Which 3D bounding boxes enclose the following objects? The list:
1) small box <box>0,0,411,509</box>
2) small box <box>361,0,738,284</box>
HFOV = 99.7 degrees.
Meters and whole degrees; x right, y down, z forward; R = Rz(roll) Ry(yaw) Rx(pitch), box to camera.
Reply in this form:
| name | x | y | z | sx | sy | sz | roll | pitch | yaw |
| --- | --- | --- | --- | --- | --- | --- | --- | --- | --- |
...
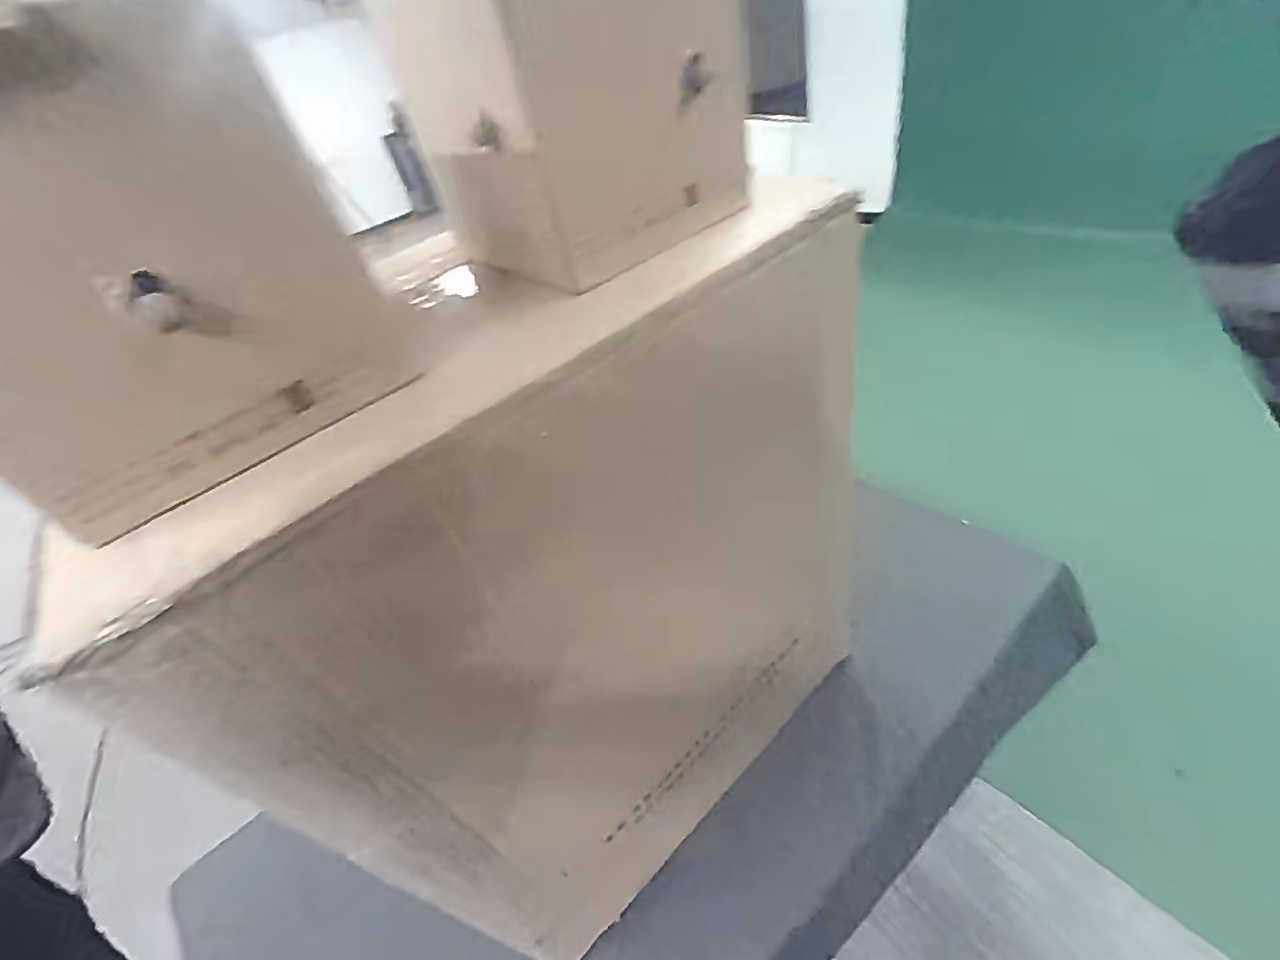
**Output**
| name | x | y | z | sx | sy | sz | roll | pitch | yaw |
| --- | --- | --- | --- | --- | --- | --- | --- | --- | --- |
| small box | -0.247 | -0.111 | 0.267 | 0.168 | 0.176 | 0.179 | -36 | 46 | -23 |
| small box | -0.049 | -0.251 | 0.372 | 0.168 | 0.176 | 0.179 | -35 | 44 | -25 |
